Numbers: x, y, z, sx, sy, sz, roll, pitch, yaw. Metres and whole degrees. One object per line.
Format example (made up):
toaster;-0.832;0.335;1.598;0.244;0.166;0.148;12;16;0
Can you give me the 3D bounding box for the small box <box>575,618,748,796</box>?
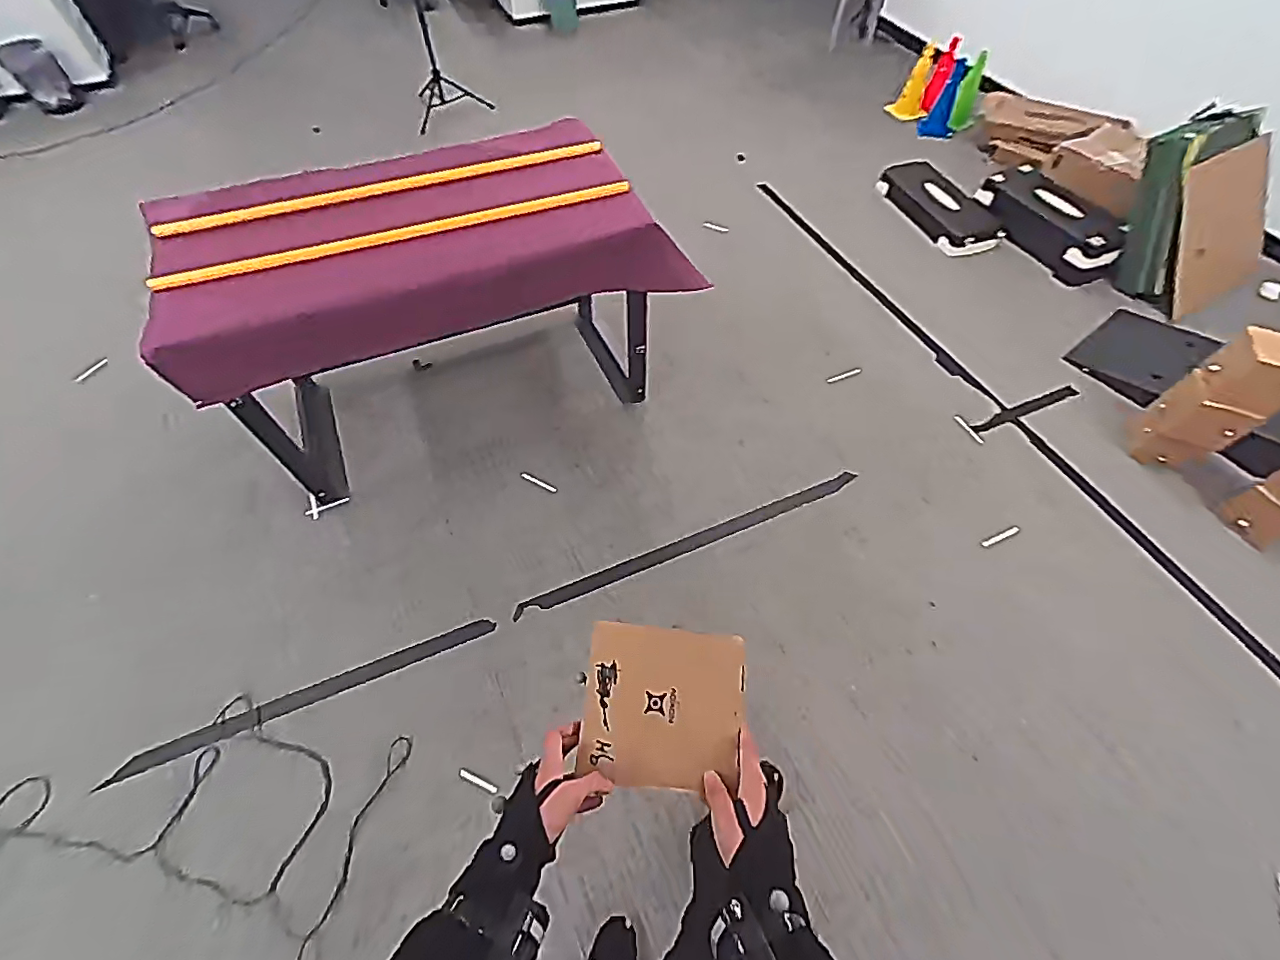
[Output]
small box;0.023;0.267;0.663;0.179;0.176;0.168;7;71;0
